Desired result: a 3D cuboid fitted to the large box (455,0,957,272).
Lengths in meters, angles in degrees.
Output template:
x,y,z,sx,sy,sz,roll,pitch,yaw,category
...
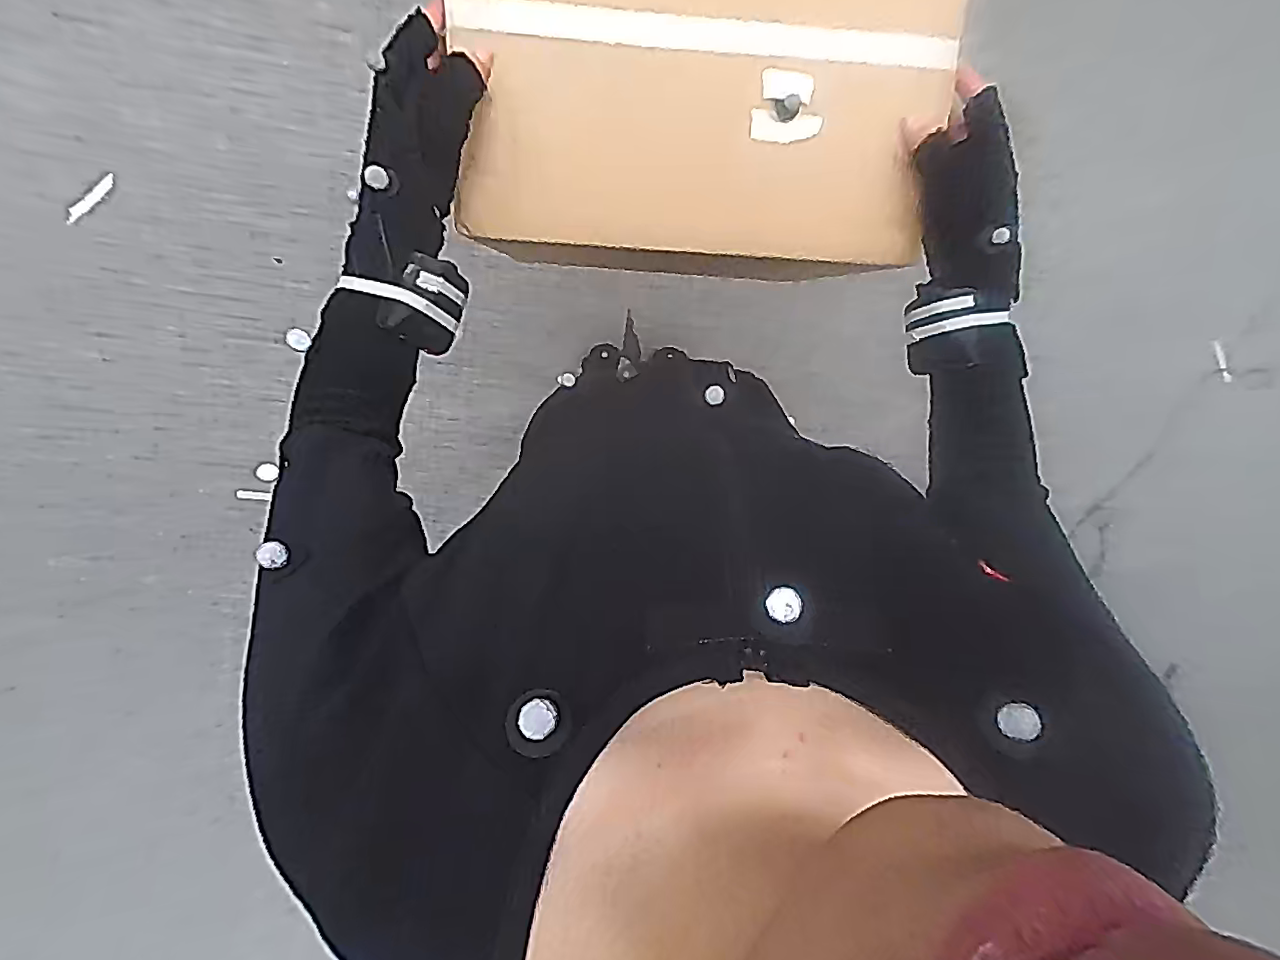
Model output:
x,y,z,sx,sy,sz,roll,pitch,yaw,category
0.043,-0.399,0.571,0.408,0.320,0.320,2,109,-5,large box
